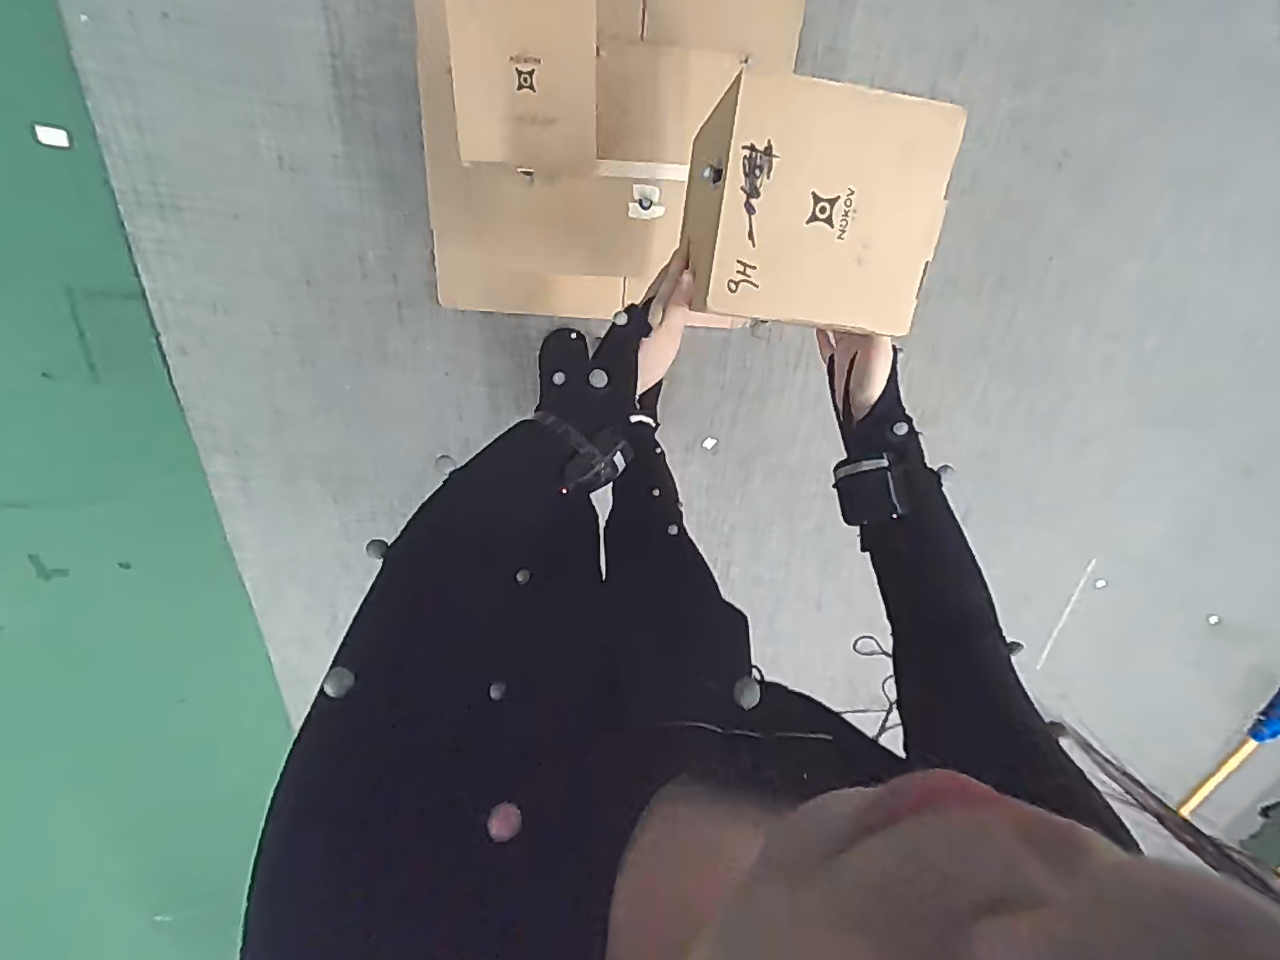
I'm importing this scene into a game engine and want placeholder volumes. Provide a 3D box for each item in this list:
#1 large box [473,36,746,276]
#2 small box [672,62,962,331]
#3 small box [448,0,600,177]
[{"bbox_3d":[-0.069,-0.540,0.946,0.408,0.320,0.320,-1,117,-7],"label":"large box"},{"bbox_3d":[0.137,-0.234,0.491,0.179,0.176,0.168,5,107,-9],"label":"small box"},{"bbox_3d":[-0.137,-0.494,0.688,0.168,0.176,0.179,-1,116,-5],"label":"small box"}]
